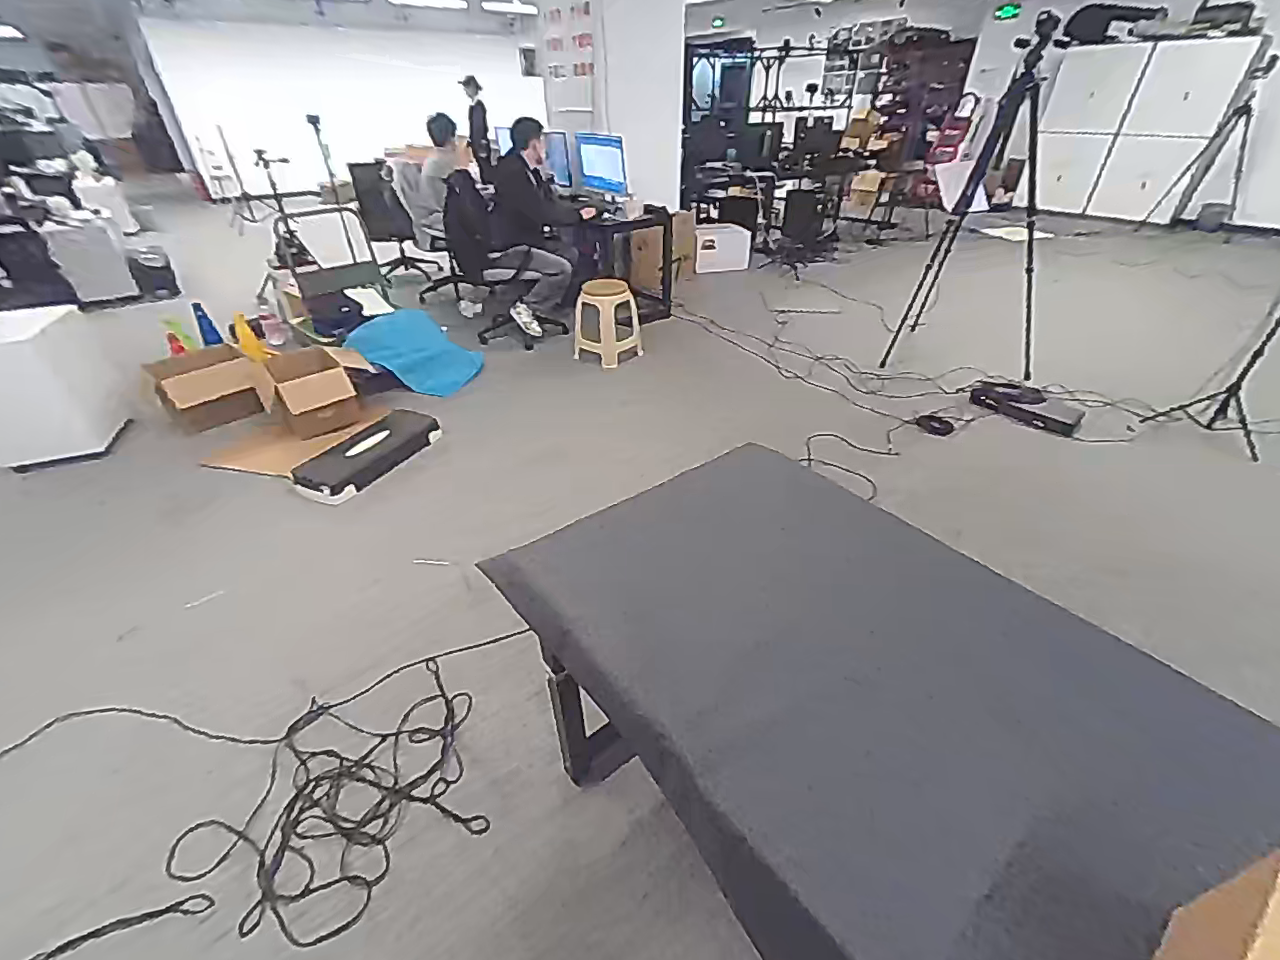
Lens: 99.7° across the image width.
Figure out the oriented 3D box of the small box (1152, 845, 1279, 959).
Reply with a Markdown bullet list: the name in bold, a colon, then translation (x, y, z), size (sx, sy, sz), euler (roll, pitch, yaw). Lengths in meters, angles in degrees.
- **small box**: translation (0.498, 0.416, 0.382), size (0.179, 0.176, 0.168), euler (-23, 42, -30)
